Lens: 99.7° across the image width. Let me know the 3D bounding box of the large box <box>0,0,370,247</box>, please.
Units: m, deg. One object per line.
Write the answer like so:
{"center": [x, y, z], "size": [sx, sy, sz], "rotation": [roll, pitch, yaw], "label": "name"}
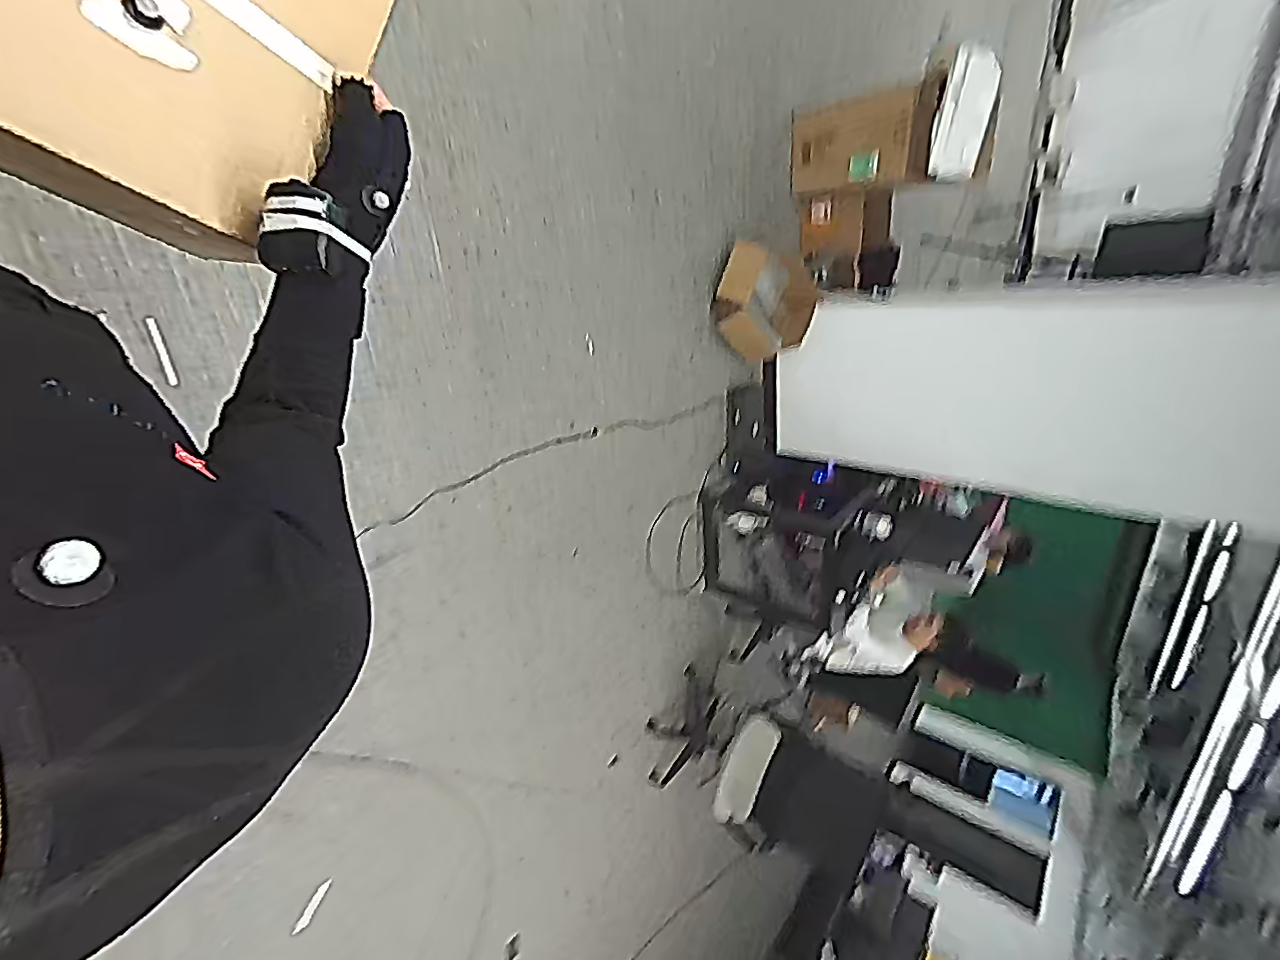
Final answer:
{"center": [-0.491, -0.420, 0.407], "size": [0.408, 0.320, 0.320], "rotation": [18, 92, -54], "label": "large box"}
